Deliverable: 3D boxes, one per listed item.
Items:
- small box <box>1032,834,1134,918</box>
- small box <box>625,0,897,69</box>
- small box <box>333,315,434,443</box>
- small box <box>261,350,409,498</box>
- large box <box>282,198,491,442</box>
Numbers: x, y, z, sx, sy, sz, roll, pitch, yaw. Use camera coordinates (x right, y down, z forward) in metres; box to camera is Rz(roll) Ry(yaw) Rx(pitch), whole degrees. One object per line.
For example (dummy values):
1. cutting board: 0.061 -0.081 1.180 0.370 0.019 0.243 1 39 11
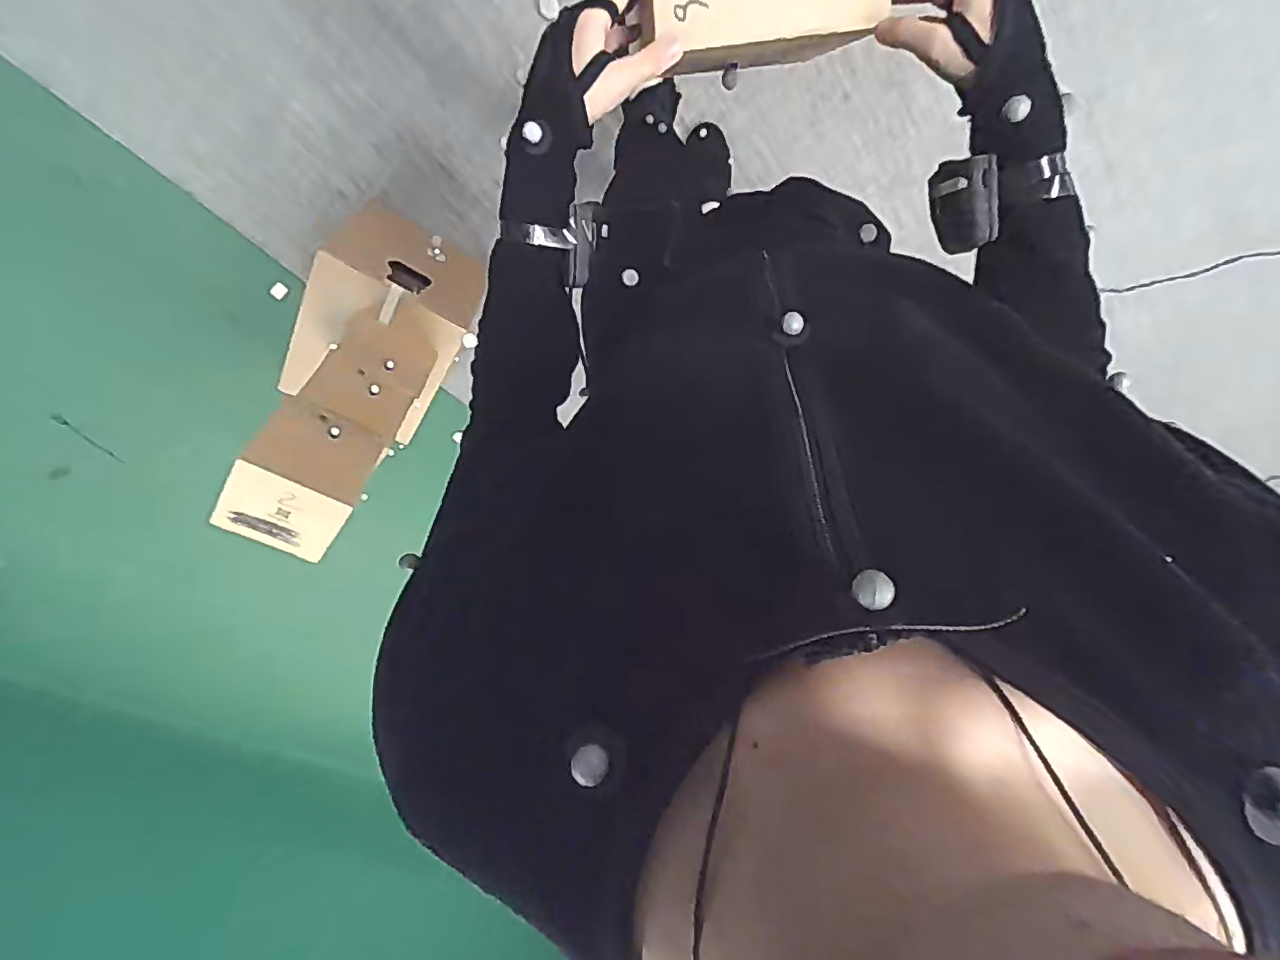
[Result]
1. small box: 1.337 1.207 1.647 0.179 0.176 0.168 -34 124 27
2. small box: 0.081 -0.431 0.411 0.179 0.176 0.168 -9 121 -3
3. small box: -0.560 -0.211 1.137 0.179 0.176 0.168 31 125 -27
4. small box: -0.561 -0.105 1.014 0.168 0.176 0.179 32 124 -28
5. large box: -0.604 -0.378 1.316 0.320 0.320 0.408 27 129 -23
